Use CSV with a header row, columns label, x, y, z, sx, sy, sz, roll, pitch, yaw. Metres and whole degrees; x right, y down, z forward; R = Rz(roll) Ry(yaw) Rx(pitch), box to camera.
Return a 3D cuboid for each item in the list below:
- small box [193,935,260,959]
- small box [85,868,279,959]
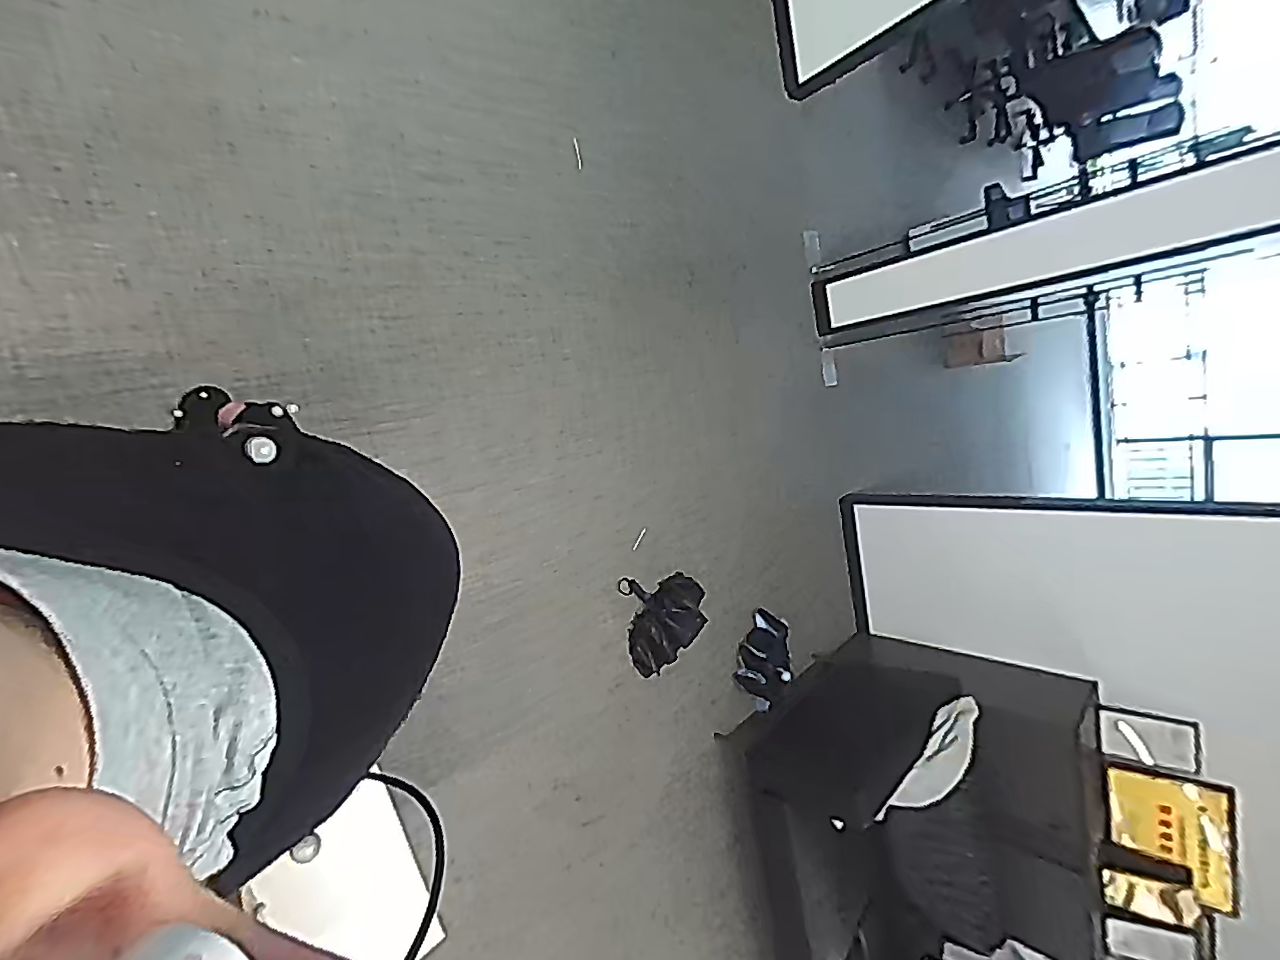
label,x,y,z,sx,sy,sz,roll,pitch,yaw
small box,-0.480,0.660,0.579,0.168,0.176,0.179,-23,105,-38
small box,-0.588,0.656,0.703,0.168,0.176,0.179,-25,108,-38
